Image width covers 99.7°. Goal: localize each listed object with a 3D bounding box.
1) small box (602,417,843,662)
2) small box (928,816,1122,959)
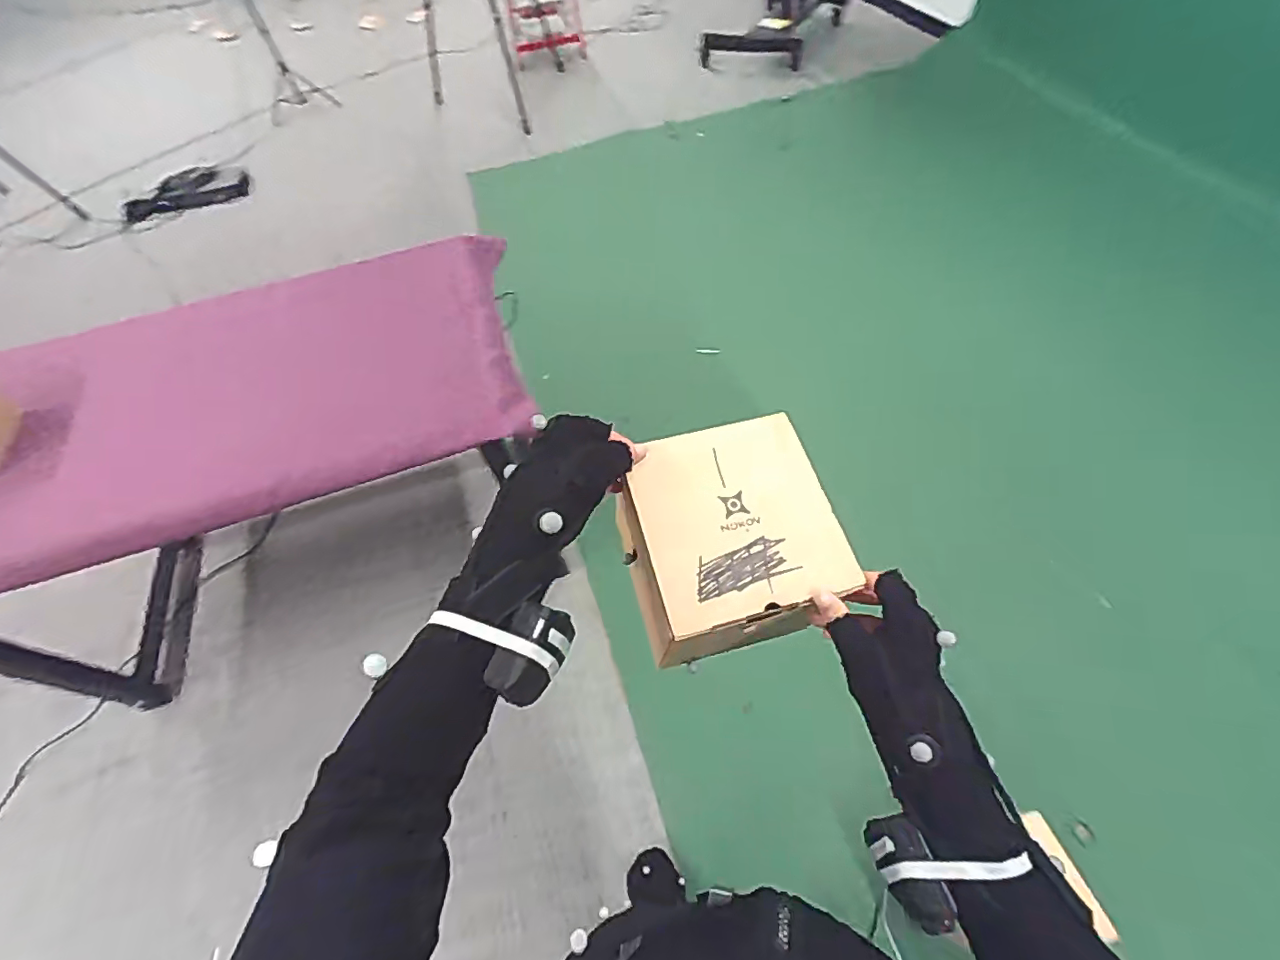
[{"bbox_3d":[0.064,0.069,0.532,0.168,0.176,0.179,-13,63,-9],"label":"small box"},{"bbox_3d":[0.629,0.698,0.915,0.168,0.176,0.179,-19,57,-6],"label":"small box"}]
